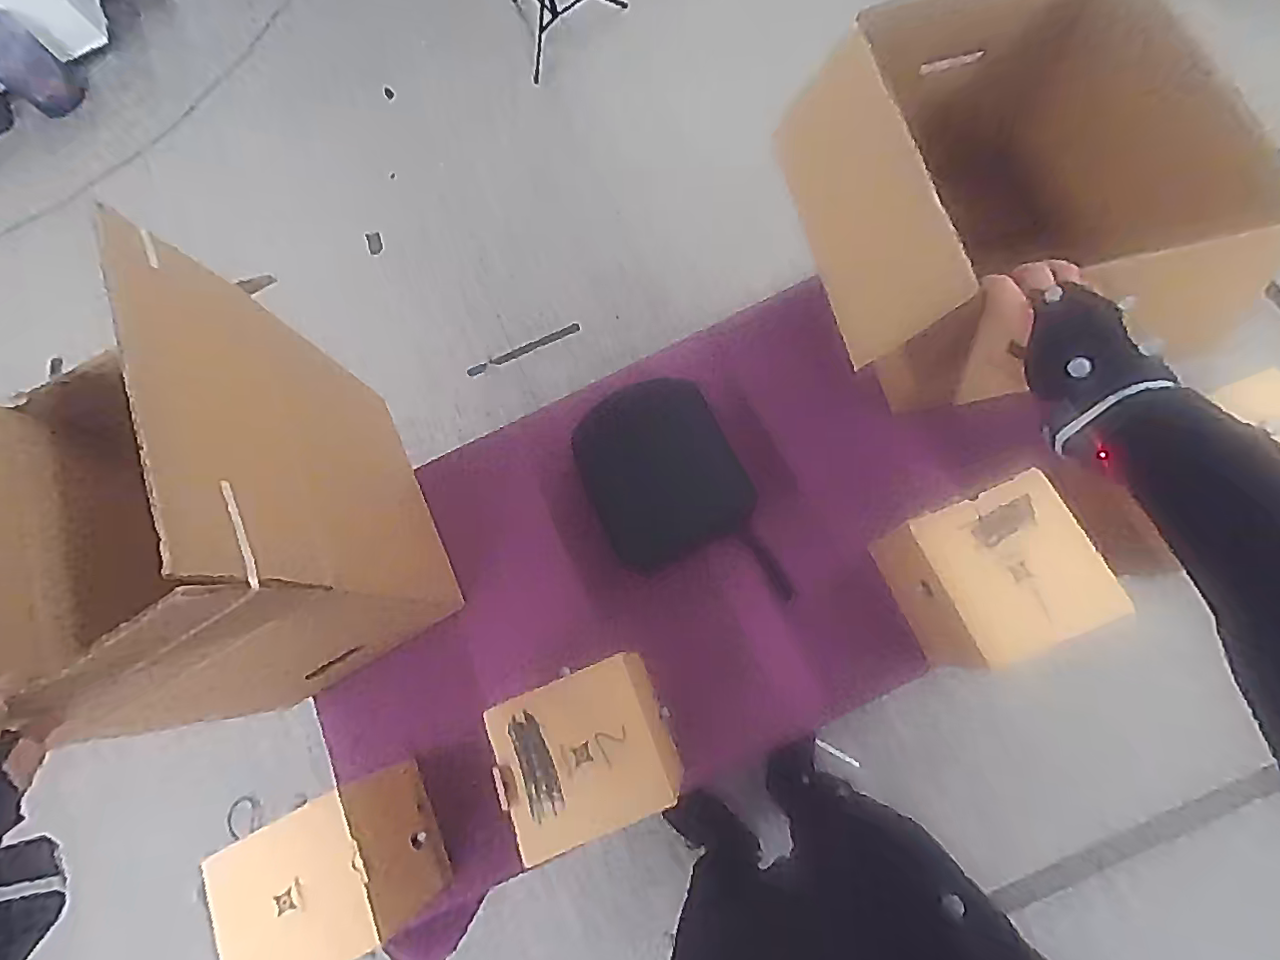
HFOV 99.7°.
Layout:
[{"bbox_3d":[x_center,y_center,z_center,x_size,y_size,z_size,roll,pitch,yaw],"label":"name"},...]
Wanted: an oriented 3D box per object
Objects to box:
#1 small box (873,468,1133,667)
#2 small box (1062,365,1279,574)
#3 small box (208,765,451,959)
[{"bbox_3d":[0.416,0.114,0.662,0.168,0.176,0.179,-23,72,1],"label":"small box"},{"bbox_3d":[0.676,-0.002,0.657,0.168,0.176,0.179,-23,71,2],"label":"small box"},{"bbox_3d":[-0.367,0.481,0.663,0.179,0.176,0.168,-29,71,-3],"label":"small box"}]
